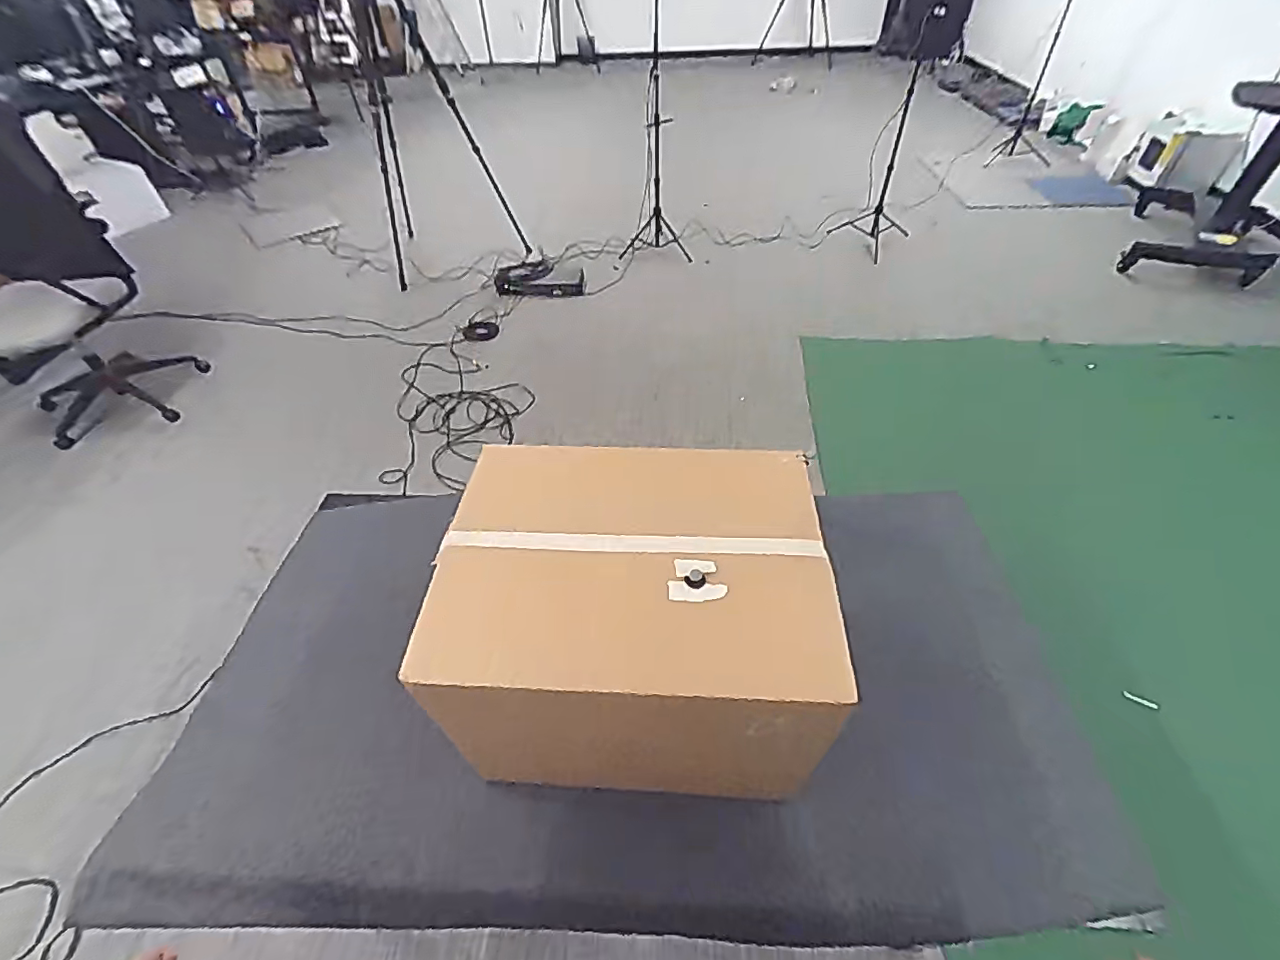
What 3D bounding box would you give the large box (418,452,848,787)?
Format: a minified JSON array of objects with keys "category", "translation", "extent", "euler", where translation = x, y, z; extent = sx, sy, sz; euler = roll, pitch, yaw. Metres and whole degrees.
[{"category":"large box","translation":[-0.002,0.180,0.699],"extent":[0.408,0.320,0.320],"euler":[2,47,3]}]
